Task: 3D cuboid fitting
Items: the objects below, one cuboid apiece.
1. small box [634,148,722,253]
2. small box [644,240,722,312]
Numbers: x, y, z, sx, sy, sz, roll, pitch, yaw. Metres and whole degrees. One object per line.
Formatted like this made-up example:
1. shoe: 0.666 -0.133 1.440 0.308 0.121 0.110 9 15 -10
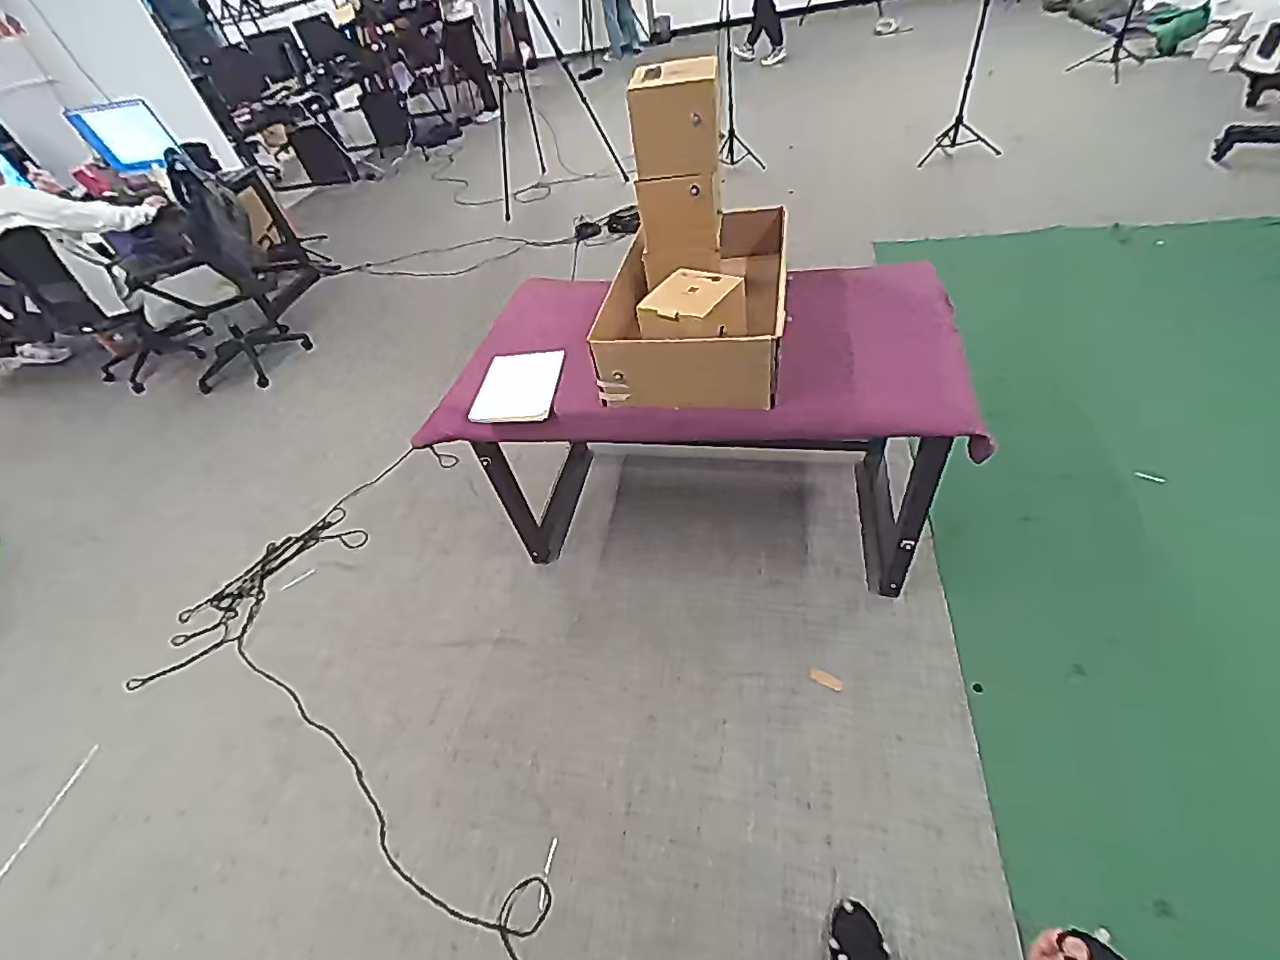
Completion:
1. small box: 0.097 -0.653 1.276 0.179 0.176 0.168 1 50 13
2. small box: 0.119 -0.549 1.398 0.168 0.176 0.179 3 50 15
